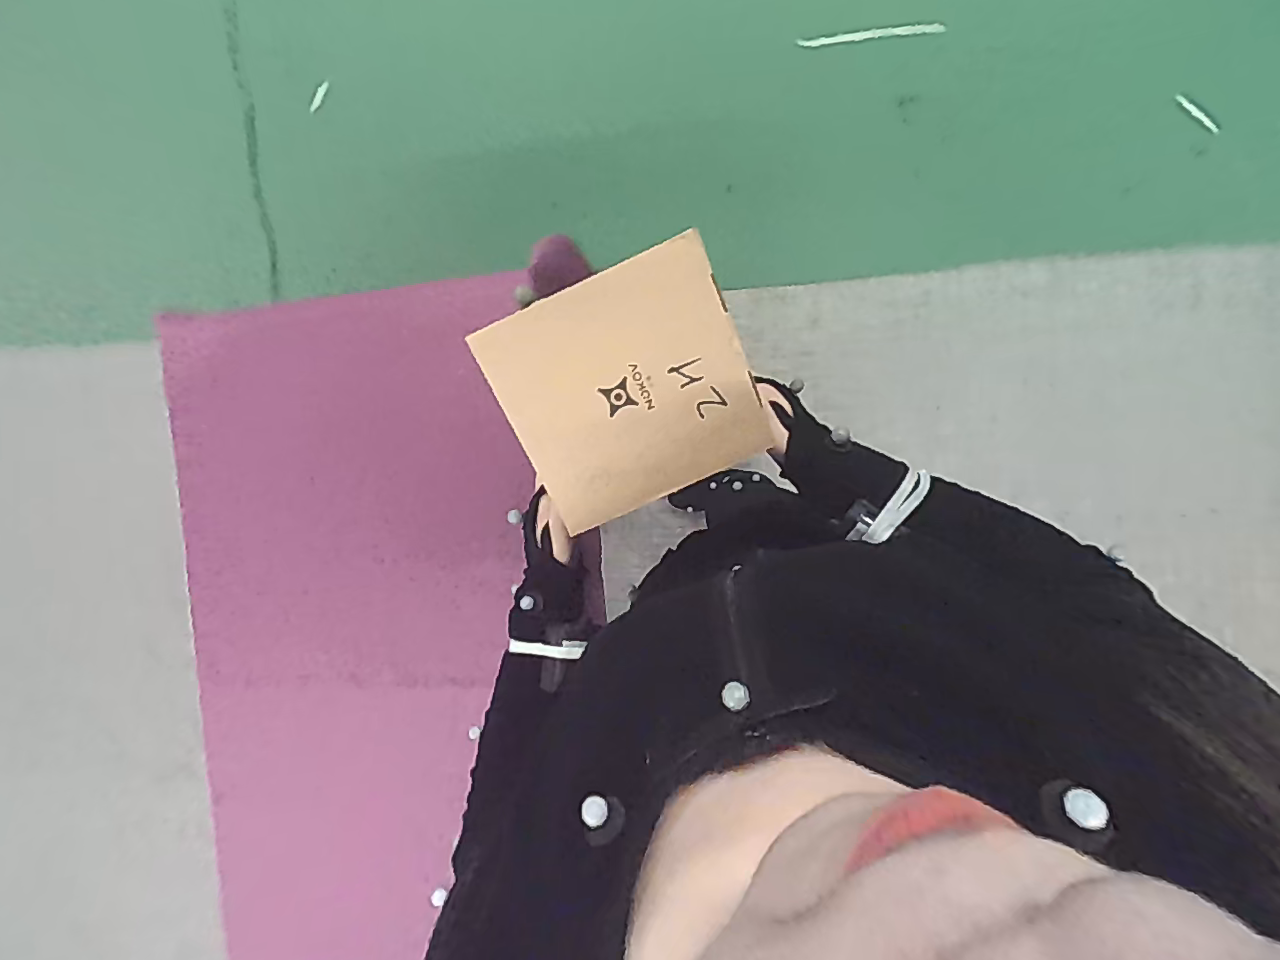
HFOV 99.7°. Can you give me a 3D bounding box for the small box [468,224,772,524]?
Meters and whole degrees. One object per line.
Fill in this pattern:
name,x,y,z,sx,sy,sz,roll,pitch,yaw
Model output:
small box,-0.014,-0.090,0.462,0.179,0.176,0.168,-23,108,3
